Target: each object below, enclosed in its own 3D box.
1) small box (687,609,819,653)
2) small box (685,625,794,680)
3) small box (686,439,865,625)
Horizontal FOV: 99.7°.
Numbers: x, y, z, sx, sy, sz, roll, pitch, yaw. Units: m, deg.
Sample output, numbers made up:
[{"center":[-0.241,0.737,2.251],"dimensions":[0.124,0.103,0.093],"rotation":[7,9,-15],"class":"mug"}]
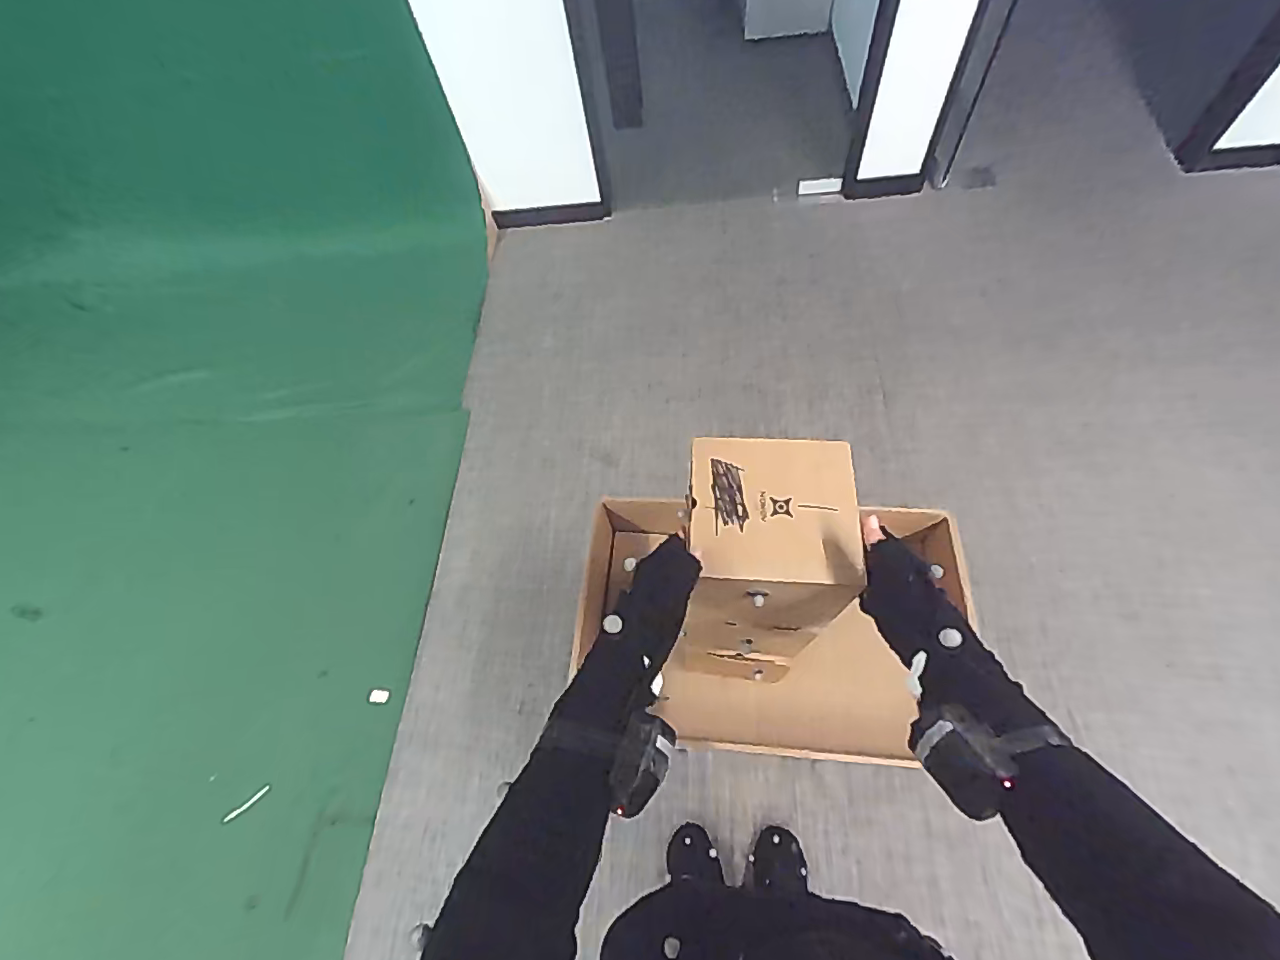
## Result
[{"center":[0.158,0.144,0.783],"dimensions":[0.168,0.176,0.179],"rotation":[5,63,6],"class":"small box"},{"center":[0.167,0.232,0.922],"dimensions":[0.168,0.176,0.179],"rotation":[5,60,7],"class":"small box"},{"center":[0.144,0.067,0.638],"dimensions":[0.179,0.176,0.168],"rotation":[2,62,5],"class":"small box"}]
